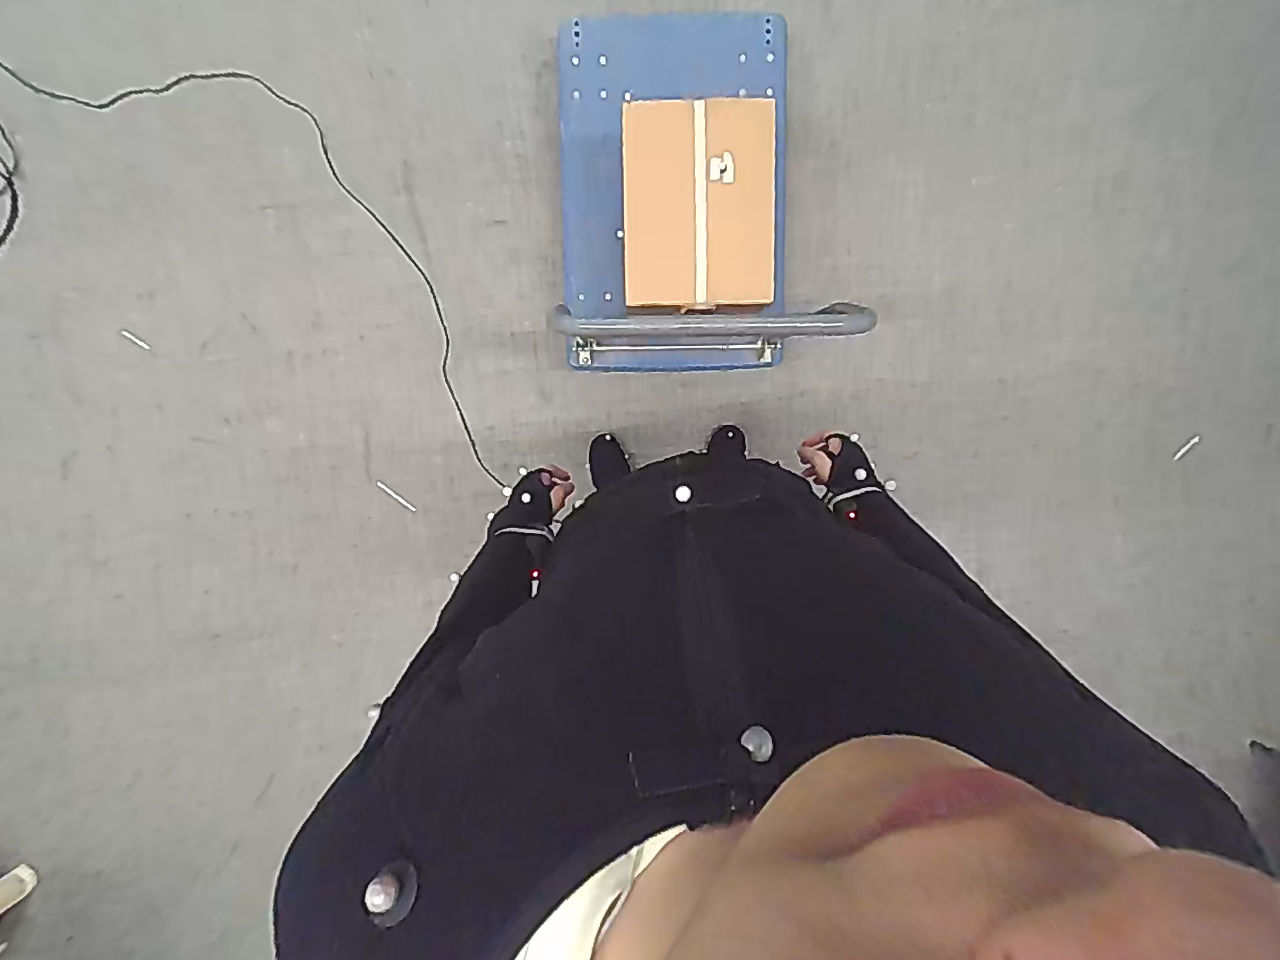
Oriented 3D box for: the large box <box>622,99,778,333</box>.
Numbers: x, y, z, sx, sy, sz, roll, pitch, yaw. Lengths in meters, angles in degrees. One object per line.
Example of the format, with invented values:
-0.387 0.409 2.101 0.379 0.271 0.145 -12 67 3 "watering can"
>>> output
0.124 -0.574 1.247 0.320 0.320 0.408 -1 95 -1 "large box"
